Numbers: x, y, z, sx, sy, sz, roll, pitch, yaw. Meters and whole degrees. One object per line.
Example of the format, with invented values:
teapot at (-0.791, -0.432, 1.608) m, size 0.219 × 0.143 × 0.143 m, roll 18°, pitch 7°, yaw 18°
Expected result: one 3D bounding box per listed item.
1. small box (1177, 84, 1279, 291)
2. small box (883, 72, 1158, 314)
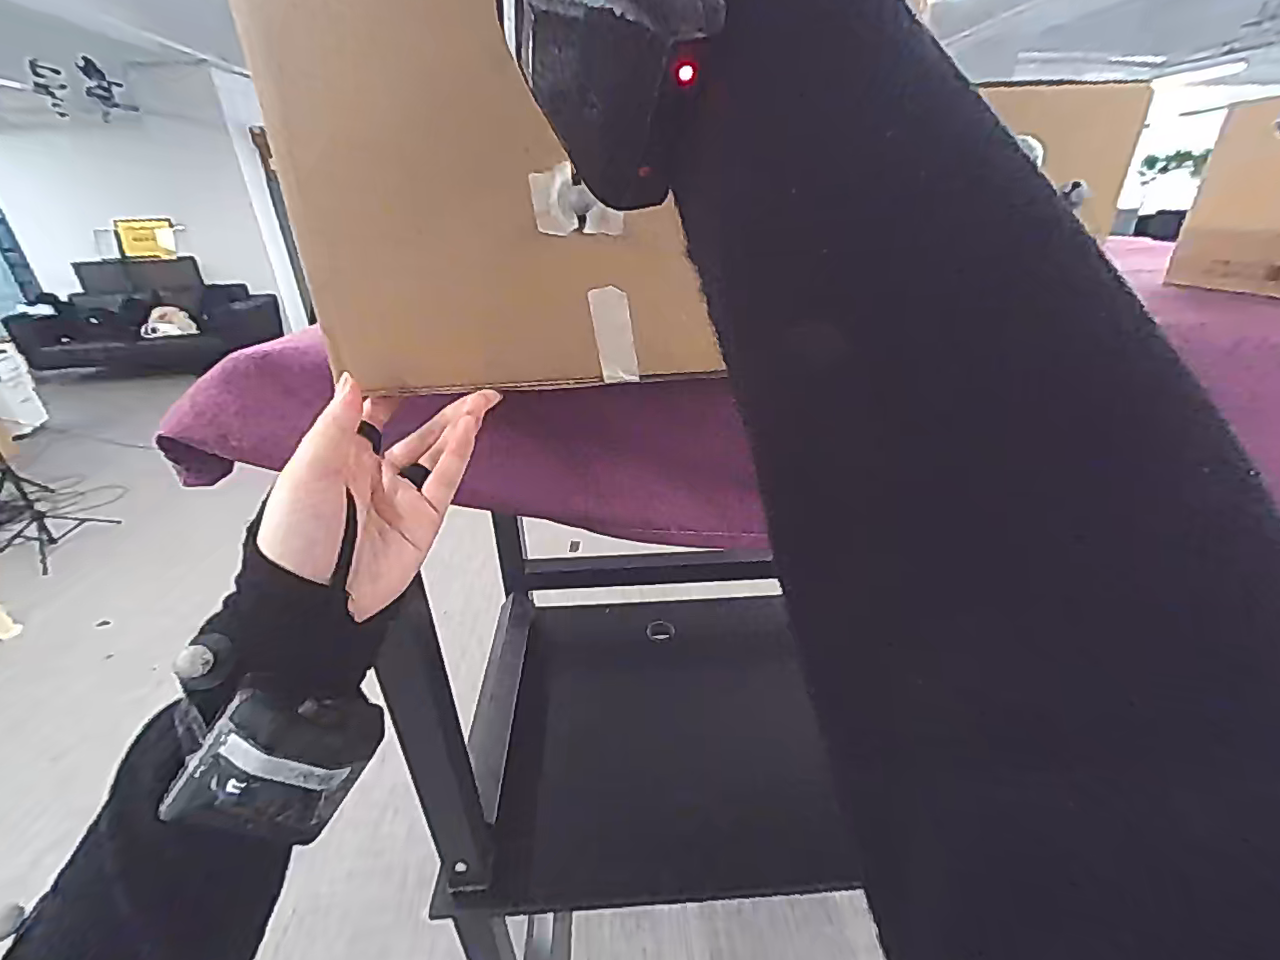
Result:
small box at (0.660, -0.263, 0.485) m, size 0.179 × 0.176 × 0.168 m, roll -3°, pitch 26°, yaw -3°
small box at (0.295, -0.255, 0.500) m, size 0.179 × 0.176 × 0.168 m, roll -3°, pitch 26°, yaw -1°
